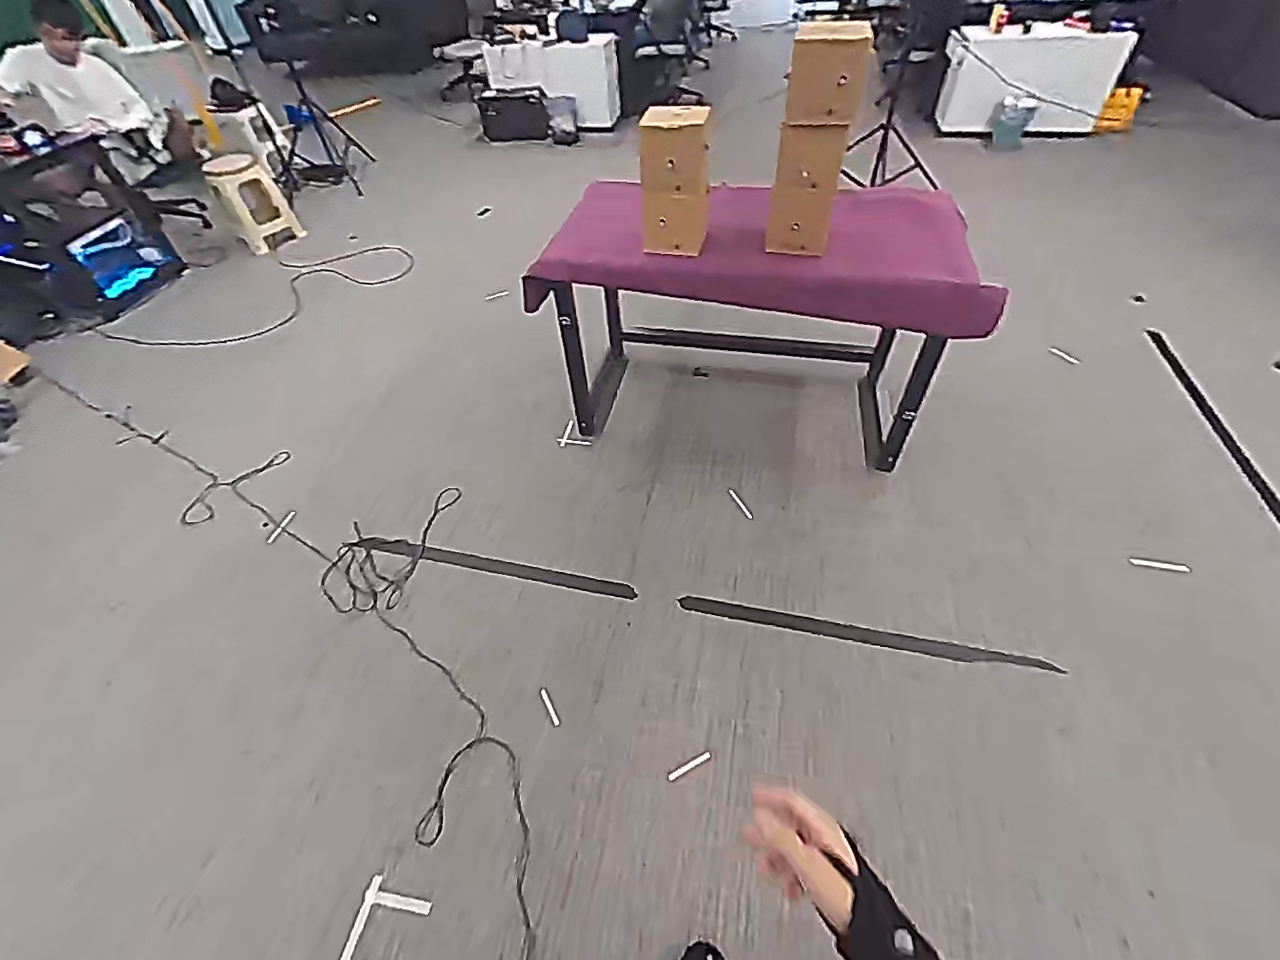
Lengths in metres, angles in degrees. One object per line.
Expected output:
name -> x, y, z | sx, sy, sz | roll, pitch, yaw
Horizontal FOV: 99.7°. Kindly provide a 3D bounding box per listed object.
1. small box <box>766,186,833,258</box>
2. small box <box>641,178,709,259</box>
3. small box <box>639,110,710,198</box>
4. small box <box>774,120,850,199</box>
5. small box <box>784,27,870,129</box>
small box -> 0.459, -0.757, 1.551 | 0.168, 0.176, 0.179 | 10, 49, 12
small box -> 0.105, -0.768, 1.586 | 0.168, 0.176, 0.179 | 9, 48, 11
small box -> 0.097, -0.883, 1.469 | 0.168, 0.176, 0.179 | 7, 49, 9
small box -> 0.454, -0.868, 1.430 | 0.168, 0.176, 0.179 | 10, 50, 13
small box -> 0.443, -0.960, 1.295 | 0.168, 0.176, 0.179 | 8, 49, 10
